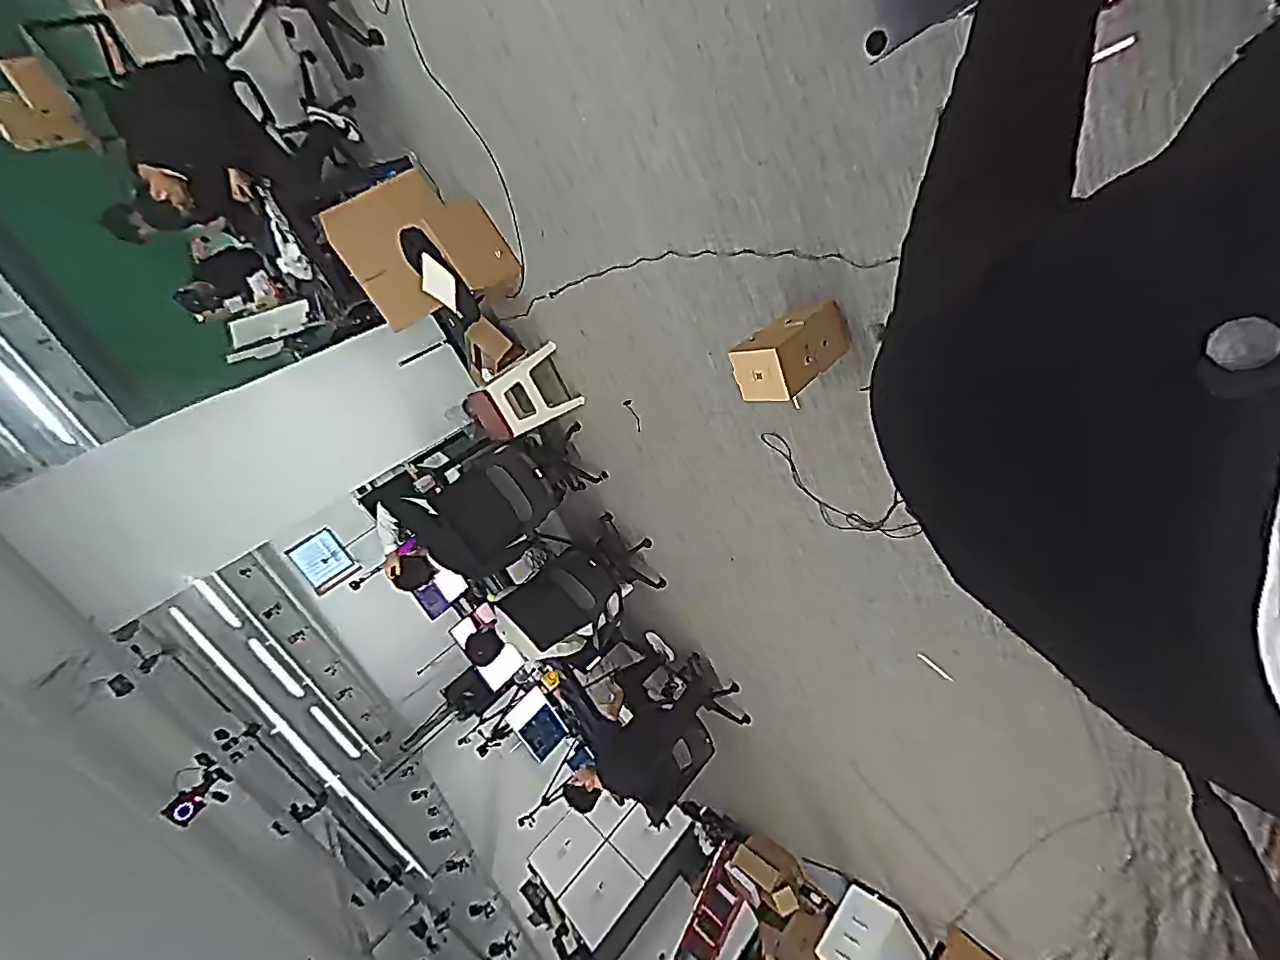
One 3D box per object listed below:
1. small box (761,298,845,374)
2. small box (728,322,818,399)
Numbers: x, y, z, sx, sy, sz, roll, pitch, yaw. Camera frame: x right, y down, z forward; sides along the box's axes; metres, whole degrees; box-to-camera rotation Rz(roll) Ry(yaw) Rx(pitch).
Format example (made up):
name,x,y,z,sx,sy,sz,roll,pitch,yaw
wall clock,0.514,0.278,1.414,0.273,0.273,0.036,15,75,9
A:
name,x,y,z,sx,sy,sz,roll,pitch,yaw
small box,0.514,-0.442,1.693,0.168,0.176,0.179,4,127,53
small box,0.399,-0.356,1.615,0.179,0.176,0.168,8,131,50
